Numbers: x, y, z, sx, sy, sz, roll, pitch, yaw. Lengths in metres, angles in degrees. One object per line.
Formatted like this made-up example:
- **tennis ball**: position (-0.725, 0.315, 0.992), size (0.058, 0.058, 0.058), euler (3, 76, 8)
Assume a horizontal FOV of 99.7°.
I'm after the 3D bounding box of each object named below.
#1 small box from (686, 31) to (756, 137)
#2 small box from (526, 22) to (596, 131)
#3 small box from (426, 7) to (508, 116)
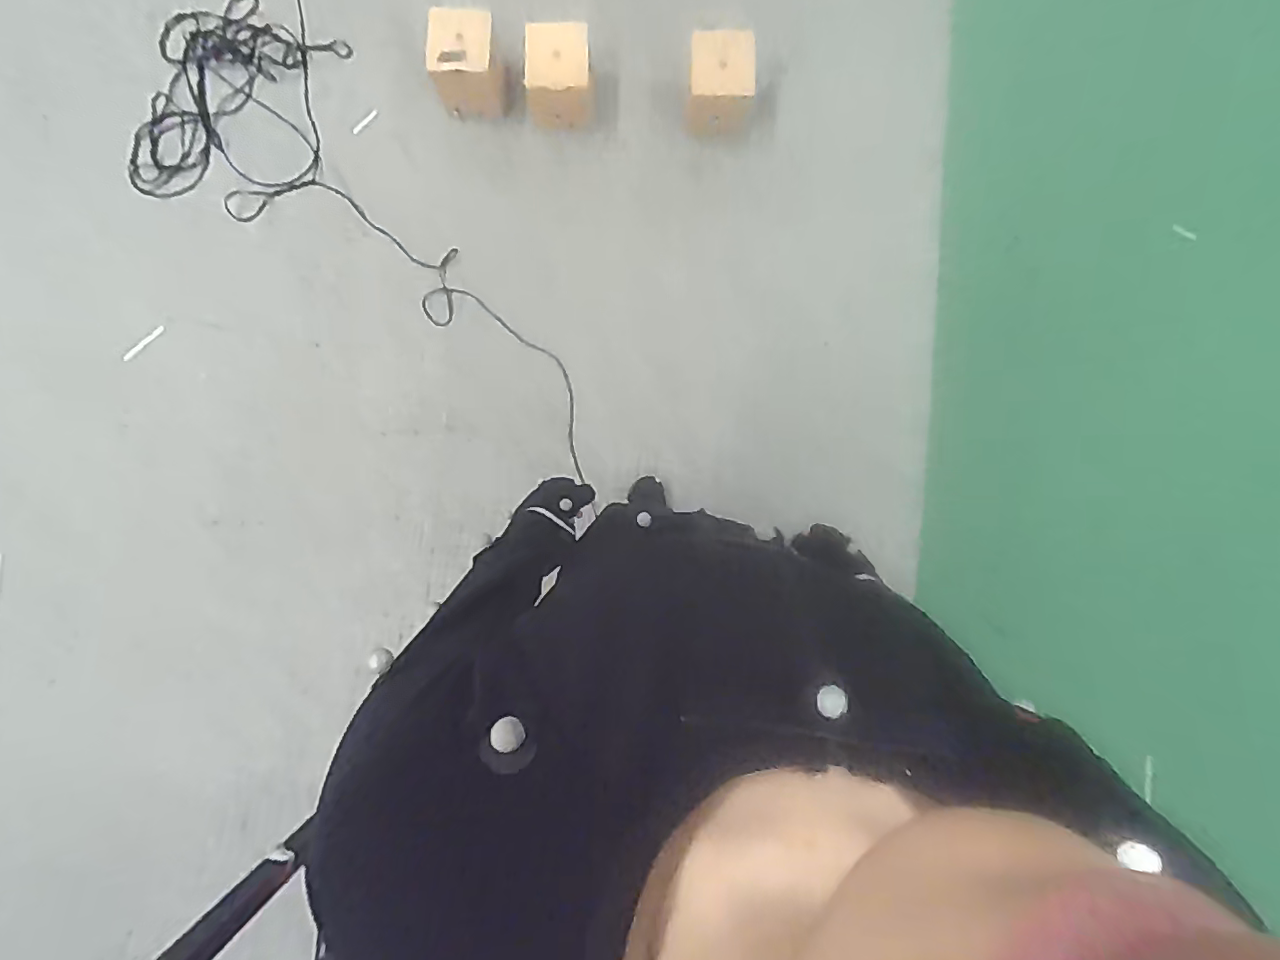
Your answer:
- **small box**: position (0.215, -1.065, 1.465), size (0.168, 0.176, 0.179), euler (0, 88, -1)
- **small box**: position (-0.211, -1.089, 1.468), size (0.168, 0.176, 0.179), euler (-1, 88, 1)
- **small box**: position (-0.463, -1.127, 1.469), size (0.168, 0.176, 0.179), euler (2, 86, 0)
